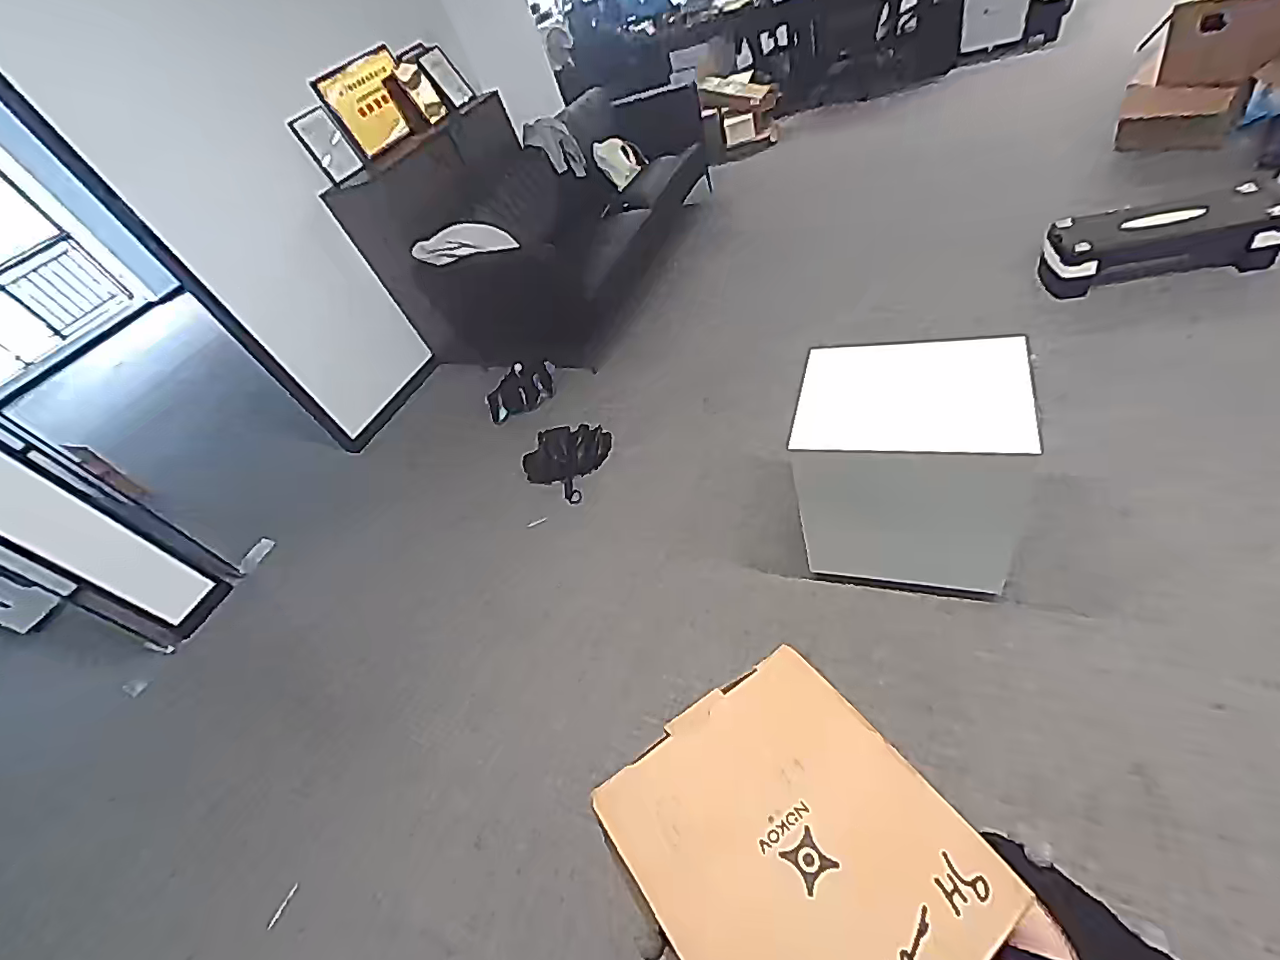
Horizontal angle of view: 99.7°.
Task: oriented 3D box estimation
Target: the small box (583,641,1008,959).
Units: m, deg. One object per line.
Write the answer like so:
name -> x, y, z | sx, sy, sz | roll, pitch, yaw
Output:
small box -> 0.080, 0.250, 0.357 | 0.168, 0.176, 0.179 | -28, 51, -22
